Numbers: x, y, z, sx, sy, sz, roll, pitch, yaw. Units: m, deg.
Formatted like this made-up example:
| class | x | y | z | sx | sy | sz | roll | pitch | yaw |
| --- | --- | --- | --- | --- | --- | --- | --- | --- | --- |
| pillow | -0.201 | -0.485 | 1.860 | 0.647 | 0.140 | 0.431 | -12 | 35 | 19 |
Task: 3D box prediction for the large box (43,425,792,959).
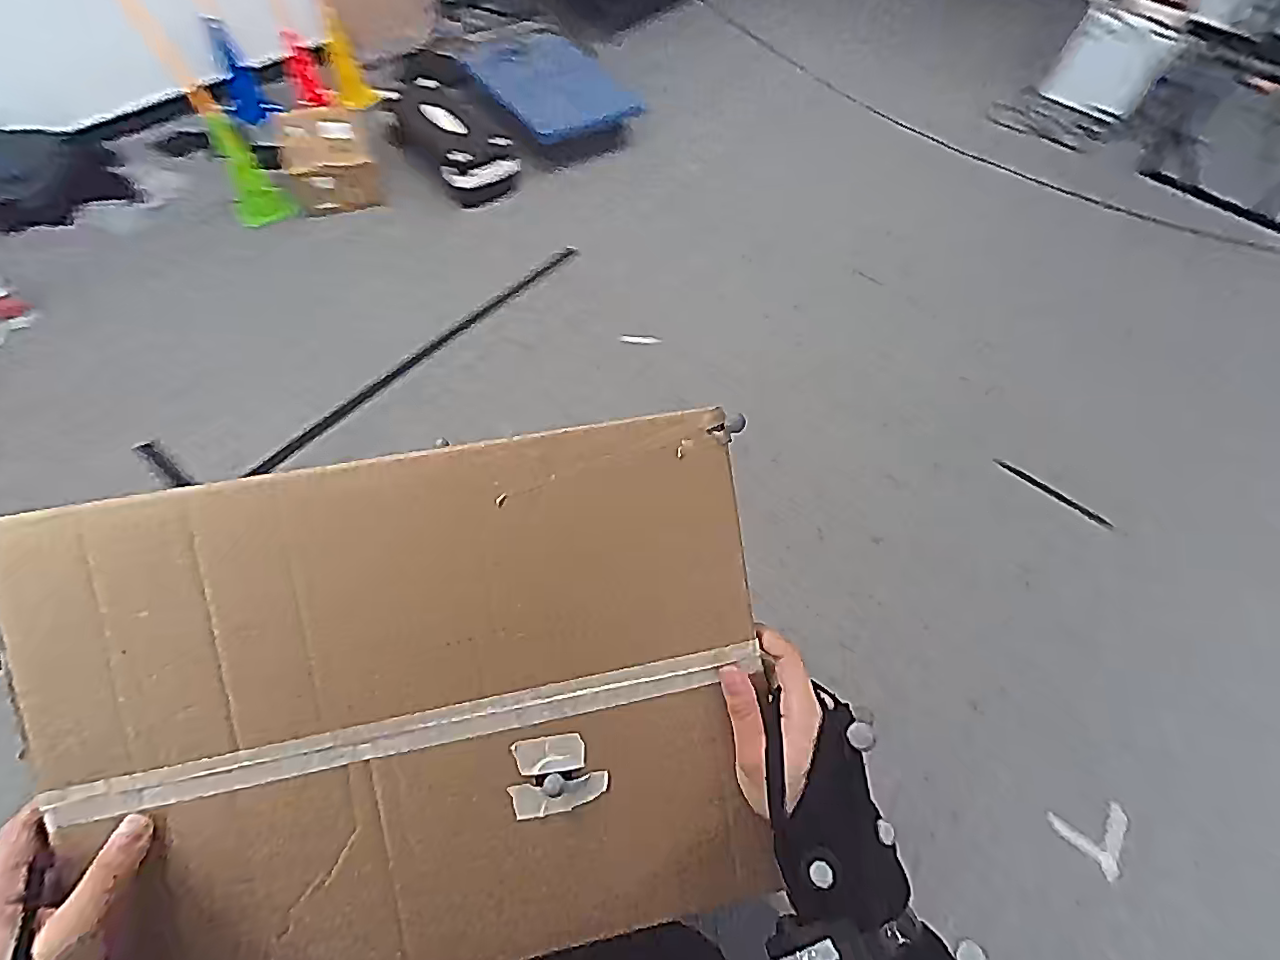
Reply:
| class | x | y | z | sx | sy | sz | roll | pitch | yaw |
| --- | --- | --- | --- | --- | --- | --- | --- | --- | --- |
| large box | -0.134 | 0.142 | 0.476 | 0.408 | 0.320 | 0.320 | -9 | 95 | -7 |
